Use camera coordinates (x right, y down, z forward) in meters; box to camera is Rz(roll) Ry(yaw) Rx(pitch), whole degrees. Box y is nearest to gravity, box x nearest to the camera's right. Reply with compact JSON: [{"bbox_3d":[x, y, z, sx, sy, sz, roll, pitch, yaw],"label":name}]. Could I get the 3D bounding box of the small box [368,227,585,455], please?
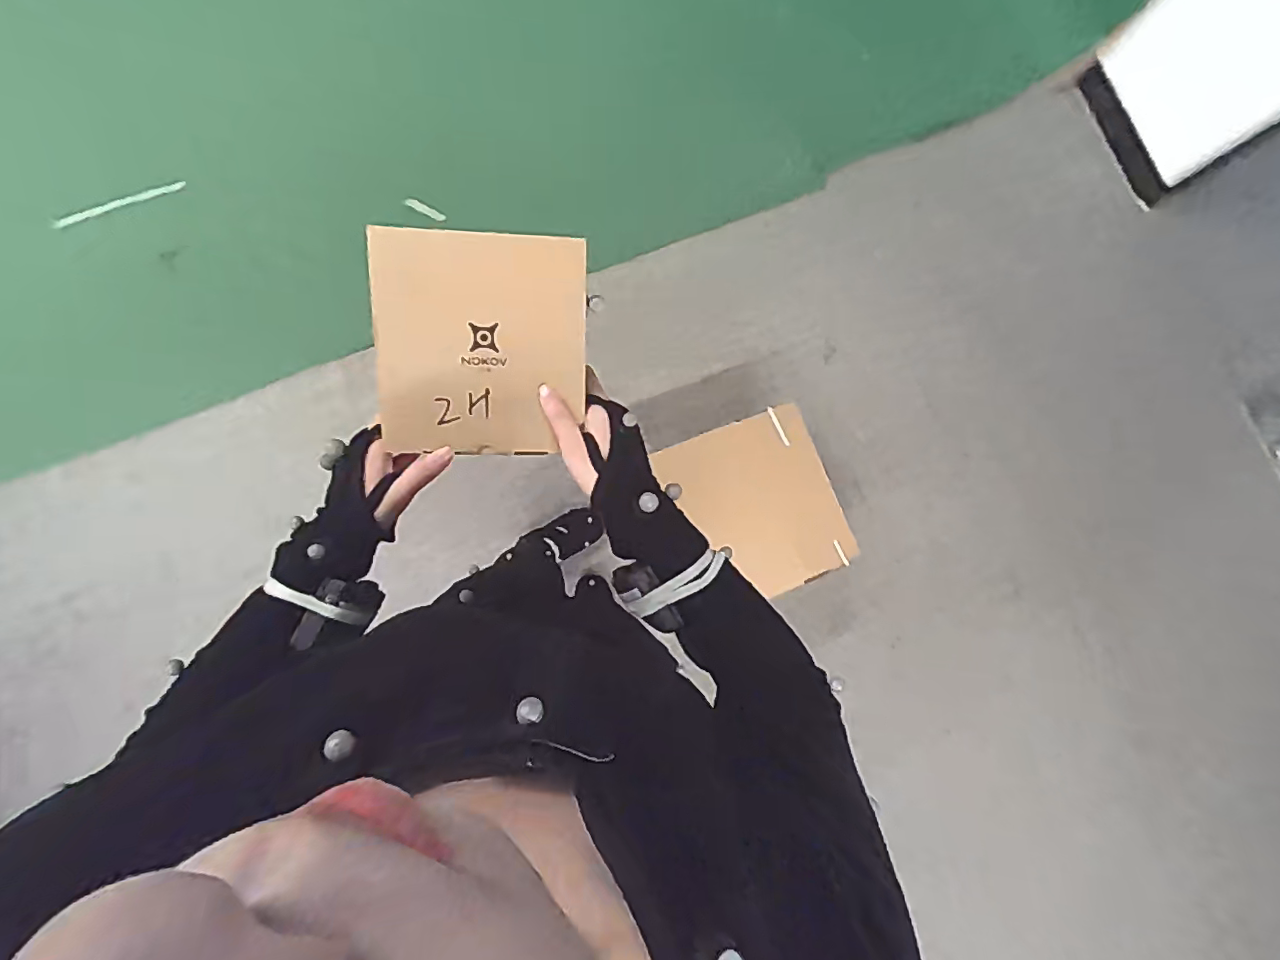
[{"bbox_3d":[-0.139,-0.124,0.513,0.168,0.176,0.179,0,104,-8],"label":"small box"}]
